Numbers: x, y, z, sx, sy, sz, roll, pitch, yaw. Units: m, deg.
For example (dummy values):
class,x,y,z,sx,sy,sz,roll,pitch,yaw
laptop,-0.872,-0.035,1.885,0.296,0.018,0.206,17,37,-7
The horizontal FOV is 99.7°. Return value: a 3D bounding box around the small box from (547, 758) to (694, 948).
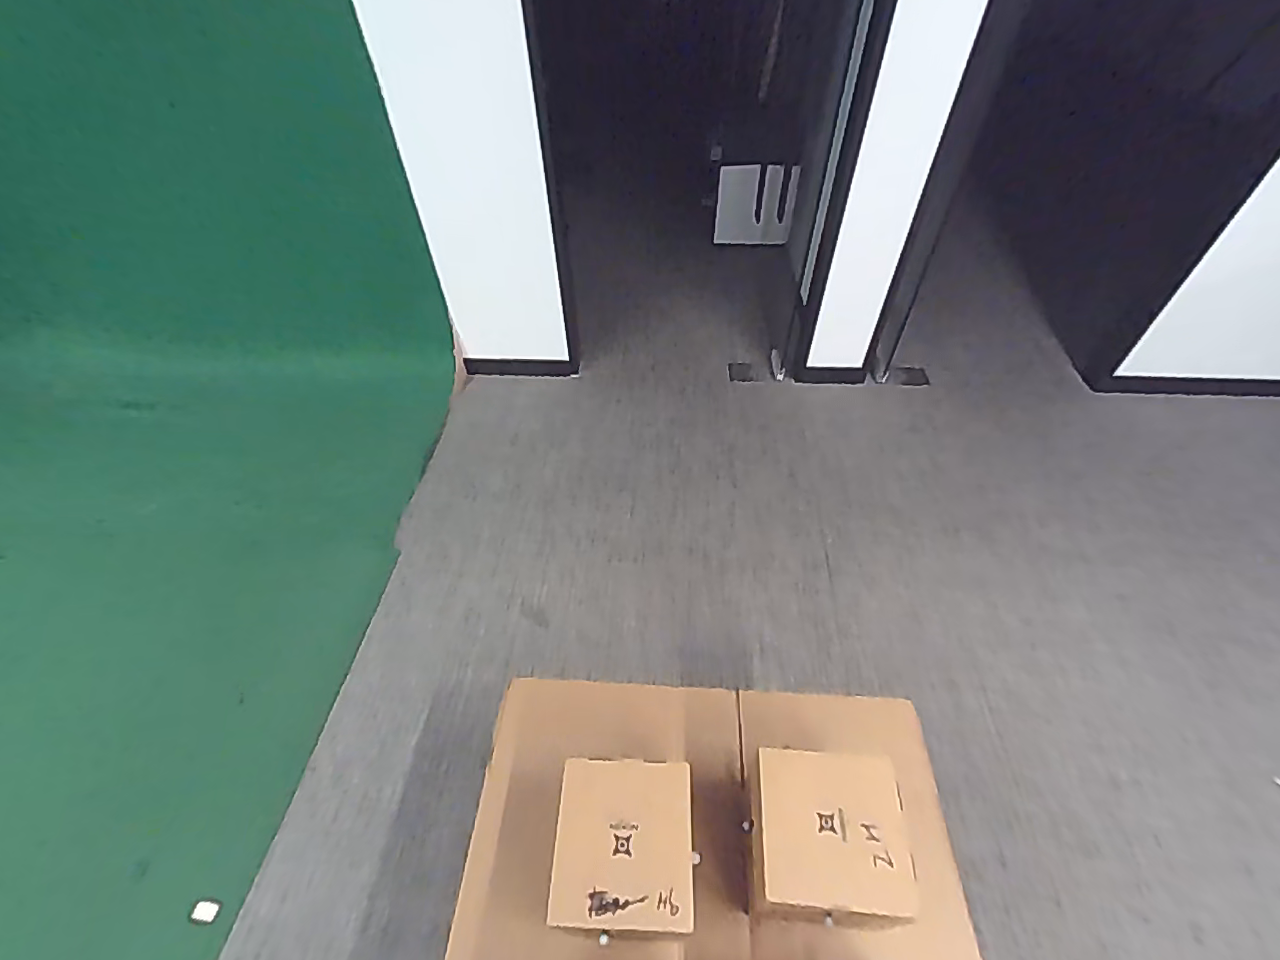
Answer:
class,x,y,z,sx,sy,sz,roll,pitch,yaw
small box,-0.015,0.486,0.706,0.168,0.176,0.179,0,46,4
